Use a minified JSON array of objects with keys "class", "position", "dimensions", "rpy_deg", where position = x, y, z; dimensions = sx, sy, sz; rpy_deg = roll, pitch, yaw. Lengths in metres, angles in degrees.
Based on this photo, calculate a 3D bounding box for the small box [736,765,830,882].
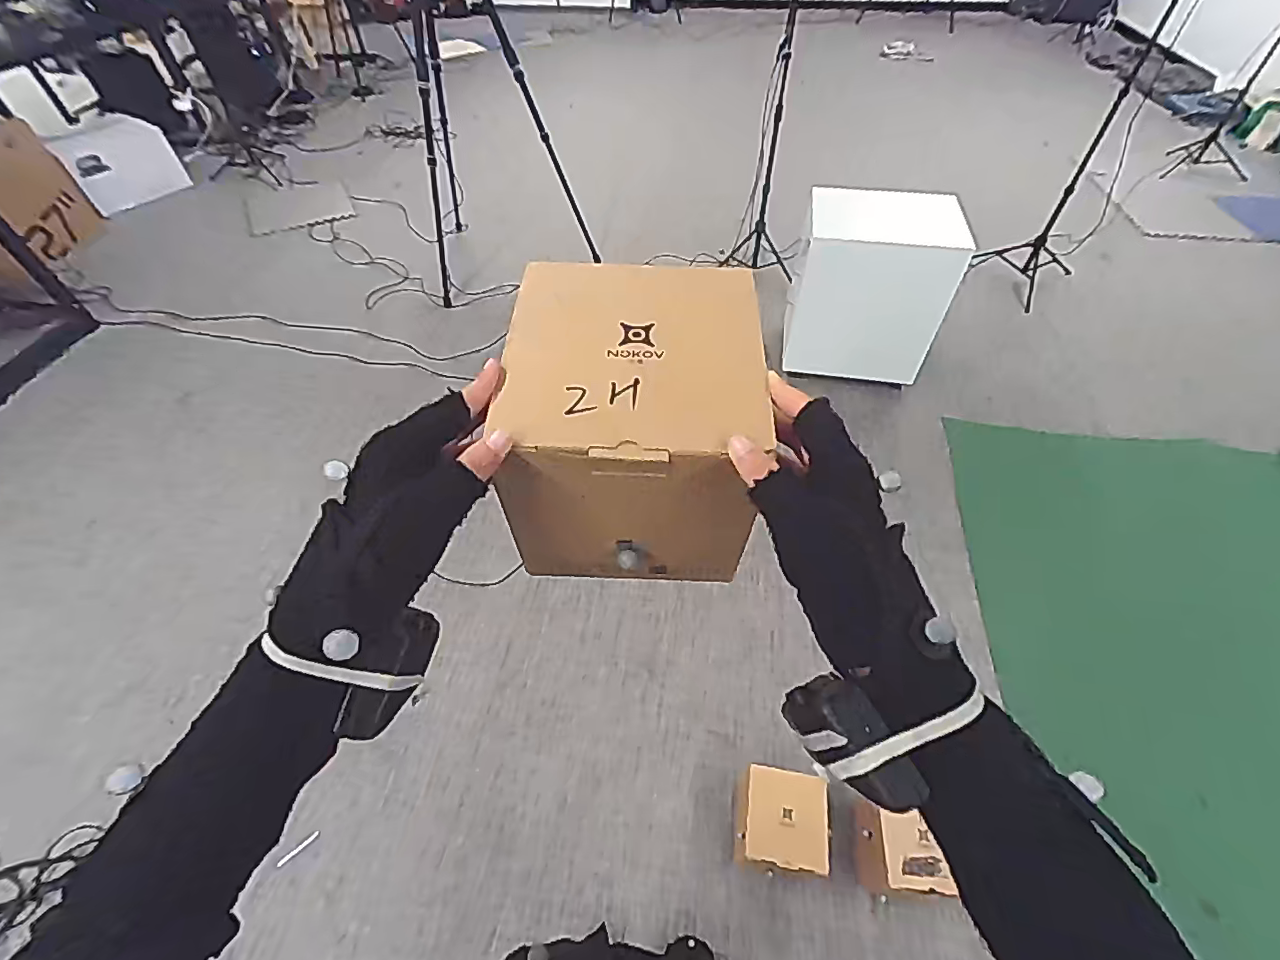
[{"class":"small box","position":[0.304,0.747,1.173],"dimensions":[0.168,0.176,0.179],"rpy_deg":[8,51,7]}]

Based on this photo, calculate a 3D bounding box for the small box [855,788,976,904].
[{"class":"small box","position":[0.569,0.777,1.144],"dimensions":[0.168,0.176,0.179],"rpy_deg":[5,50,5]}]
